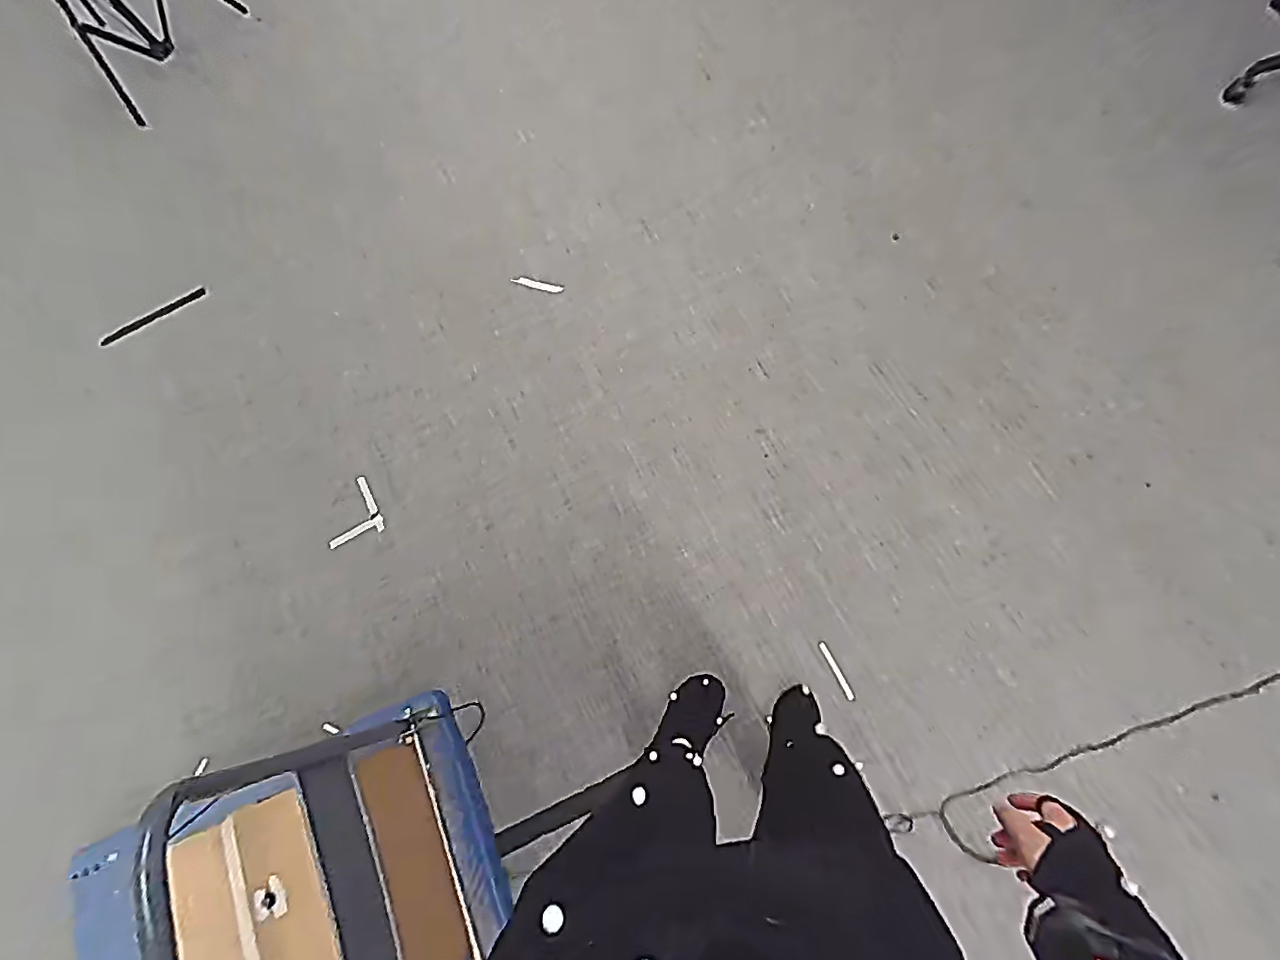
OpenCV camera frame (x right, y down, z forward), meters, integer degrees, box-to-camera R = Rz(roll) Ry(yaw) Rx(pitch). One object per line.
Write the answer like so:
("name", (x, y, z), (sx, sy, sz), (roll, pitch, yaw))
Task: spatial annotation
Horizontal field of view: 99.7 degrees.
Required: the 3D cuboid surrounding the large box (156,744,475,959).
("large box", (-0.547, 0.755, 0.959), (0.320, 0.320, 0.408), (-24, 73, -1))
